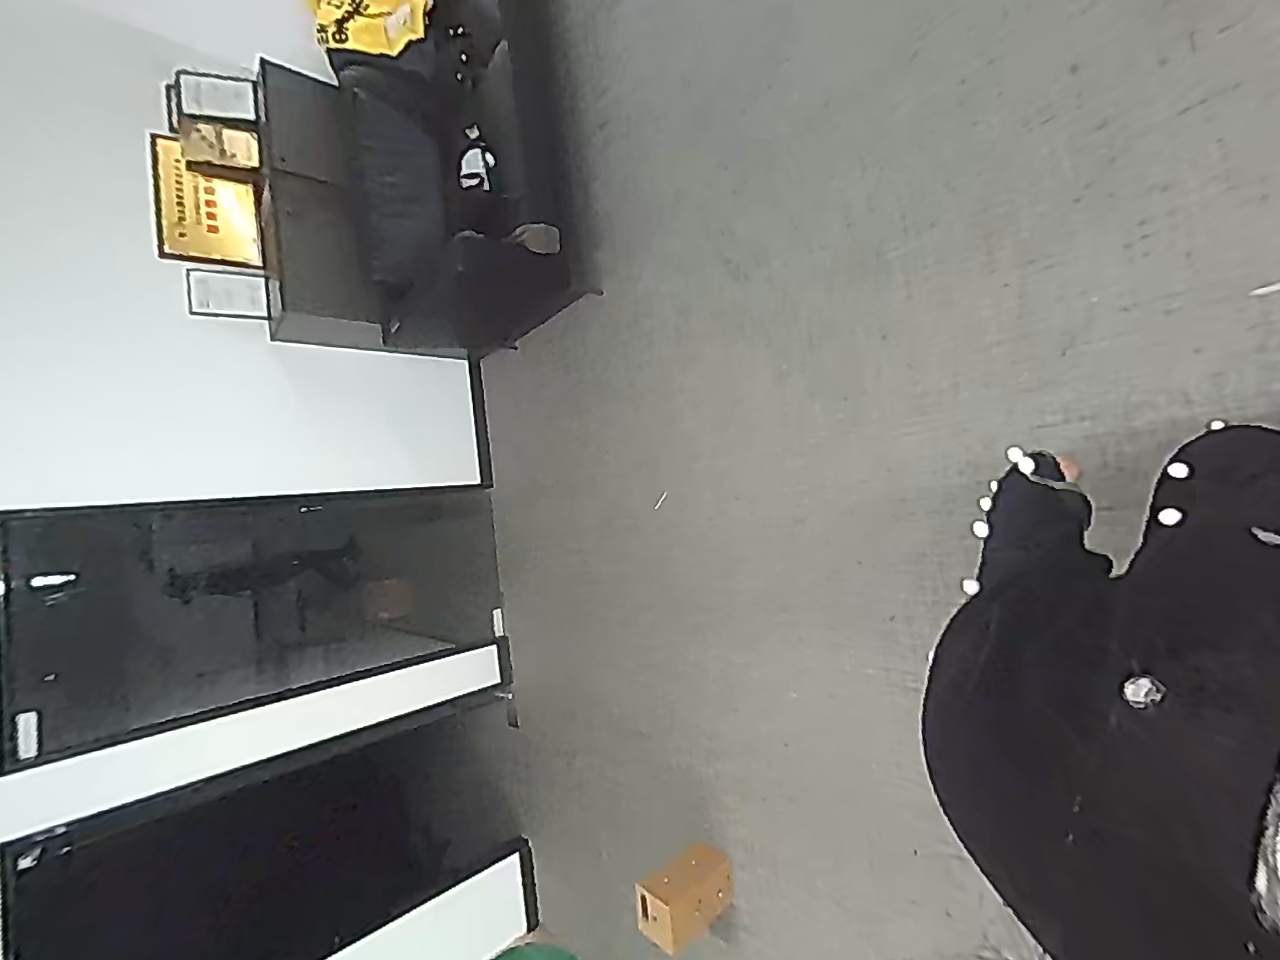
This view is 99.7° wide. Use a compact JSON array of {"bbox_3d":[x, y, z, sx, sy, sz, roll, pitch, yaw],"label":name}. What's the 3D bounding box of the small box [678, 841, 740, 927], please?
[{"bbox_3d":[0.265,1.508,2.036,0.179,0.176,0.168,-2,91,49],"label":"small box"}]
